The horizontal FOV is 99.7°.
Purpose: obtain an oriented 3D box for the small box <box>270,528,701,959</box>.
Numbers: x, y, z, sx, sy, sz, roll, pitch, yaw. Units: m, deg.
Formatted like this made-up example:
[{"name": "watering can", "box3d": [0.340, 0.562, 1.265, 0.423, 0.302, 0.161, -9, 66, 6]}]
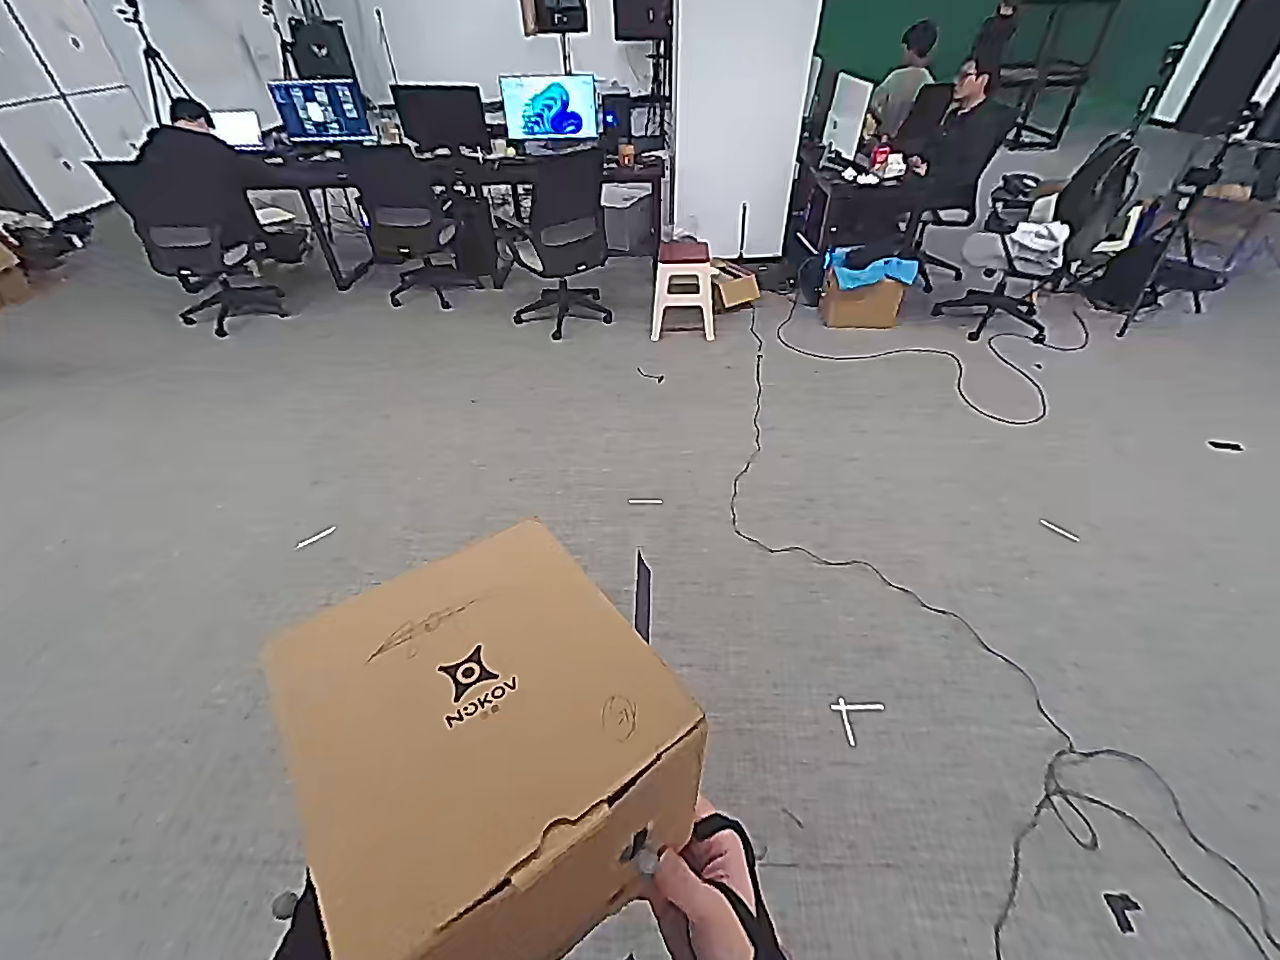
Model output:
[{"name": "small box", "box3d": [-0.083, 0.169, 0.329, 0.168, 0.176, 0.179, -27, 46, -29]}]
